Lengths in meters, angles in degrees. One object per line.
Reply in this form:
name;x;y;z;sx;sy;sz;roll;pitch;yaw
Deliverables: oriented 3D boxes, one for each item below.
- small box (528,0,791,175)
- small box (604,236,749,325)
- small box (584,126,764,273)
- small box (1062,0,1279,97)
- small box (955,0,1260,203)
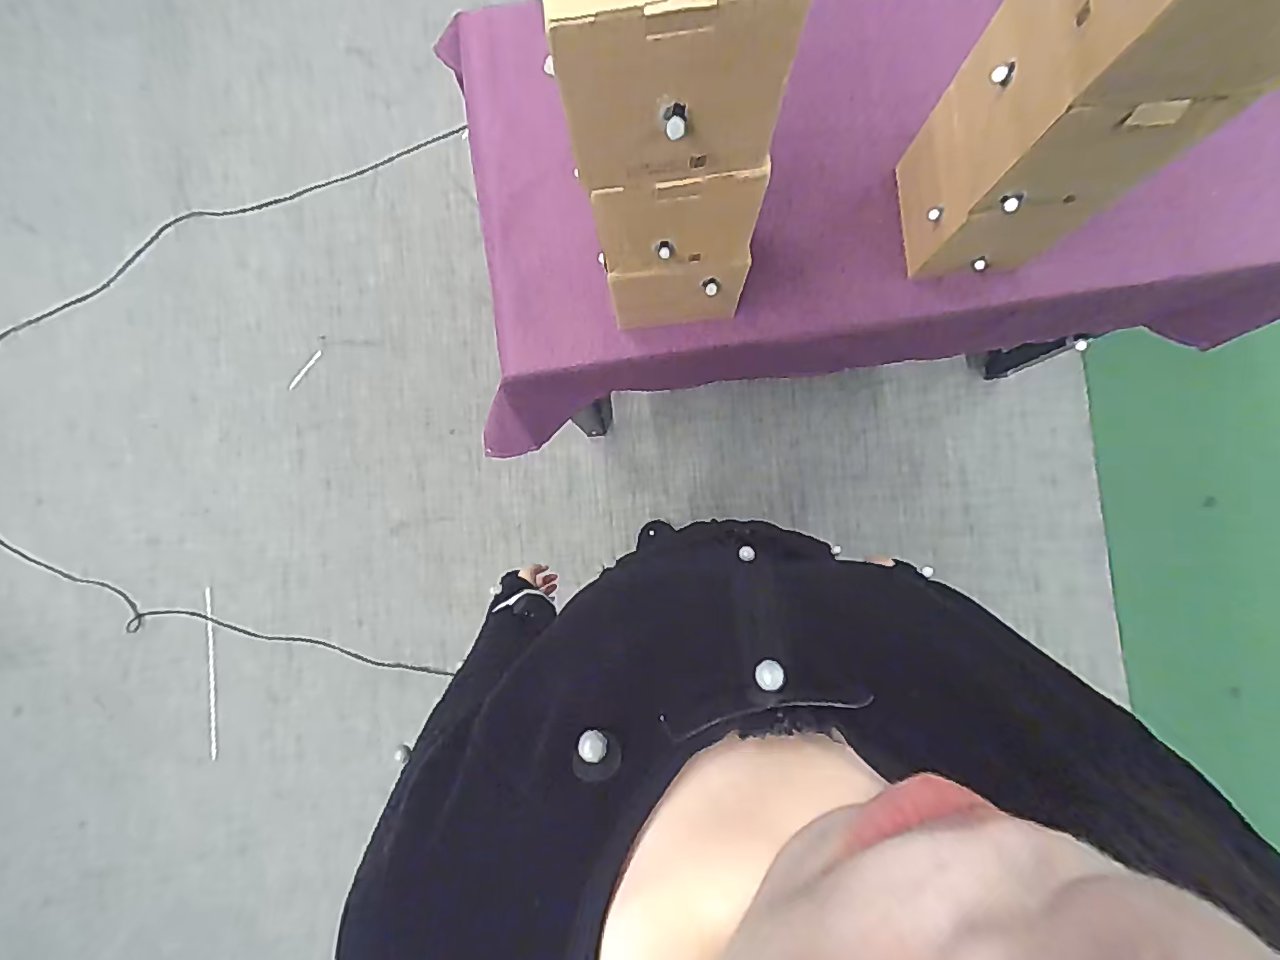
small box;0.010;-0.361;0.410;0.168;0.176;0.179;-7;86;2
small box;0.042;-0.324;0.735;0.179;0.176;0.168;-5;85;3
small box;0.029;-0.346;0.573;0.168;0.176;0.179;-5;86;3
small box;0.441;-0.412;0.386;0.179;0.176;0.168;-1;87;3
small box;0.449;-0.406;0.549;0.168;0.176;0.179;-3;85;4
